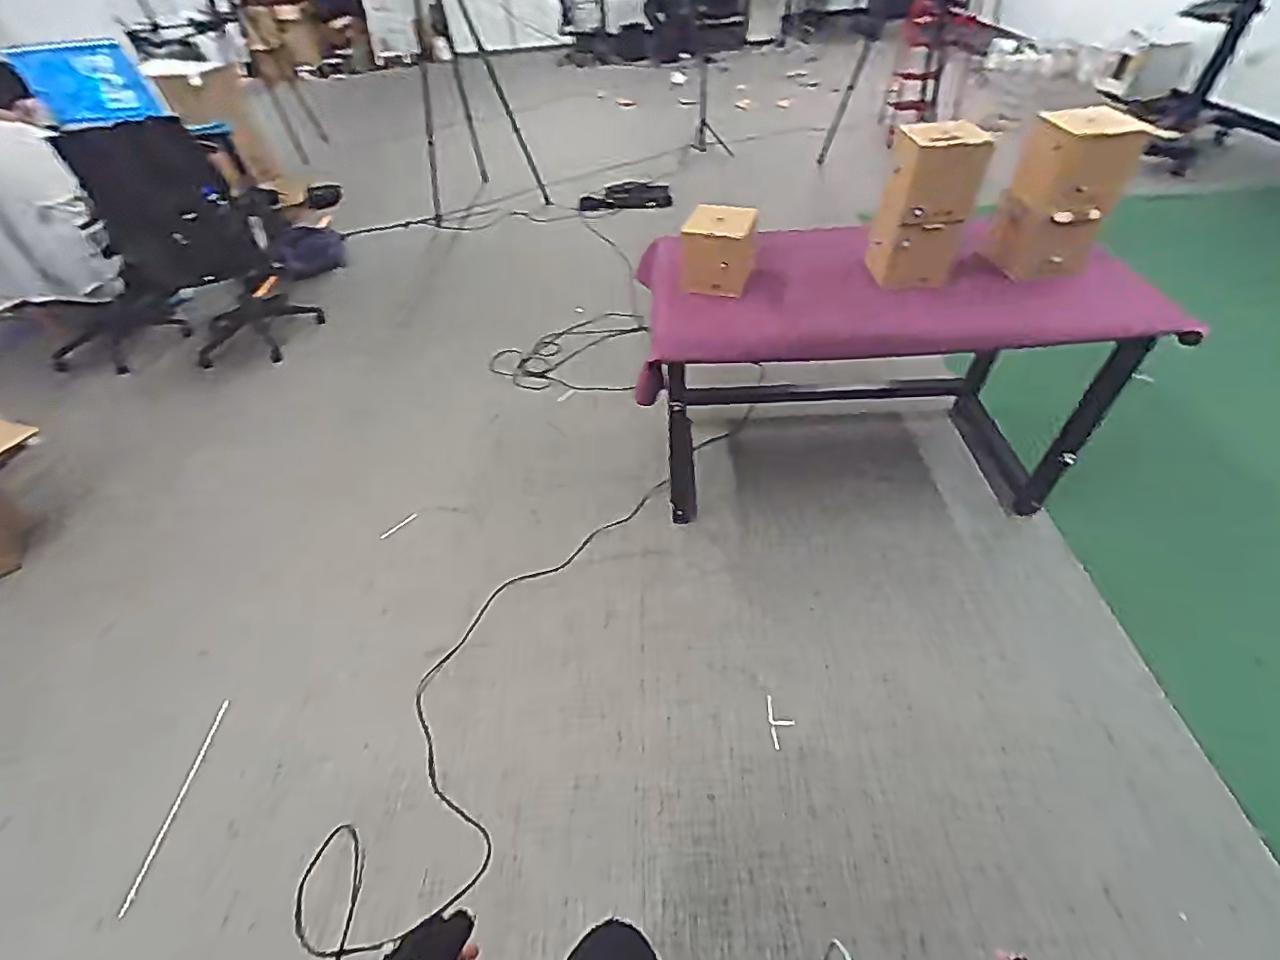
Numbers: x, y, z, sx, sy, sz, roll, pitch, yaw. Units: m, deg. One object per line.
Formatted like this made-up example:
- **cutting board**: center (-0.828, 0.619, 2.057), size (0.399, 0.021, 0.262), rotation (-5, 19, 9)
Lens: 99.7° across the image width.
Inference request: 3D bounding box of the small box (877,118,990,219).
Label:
- **small box**: center (0.685, -0.735, 1.283), size (0.168, 0.176, 0.179), rotation (-2, 46, 4)

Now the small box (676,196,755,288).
- **small box**: center (0.202, -0.632, 1.439), size (0.168, 0.176, 0.179), rotation (13, 50, 16)

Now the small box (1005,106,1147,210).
- **small box**: center (1.008, -0.756, 1.273), size (0.168, 0.176, 0.179), rotation (-4, 48, 2)

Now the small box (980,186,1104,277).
- **small box**: center (1.017, -0.642, 1.390), size (0.168, 0.176, 0.179), rotation (-5, 47, 2)
